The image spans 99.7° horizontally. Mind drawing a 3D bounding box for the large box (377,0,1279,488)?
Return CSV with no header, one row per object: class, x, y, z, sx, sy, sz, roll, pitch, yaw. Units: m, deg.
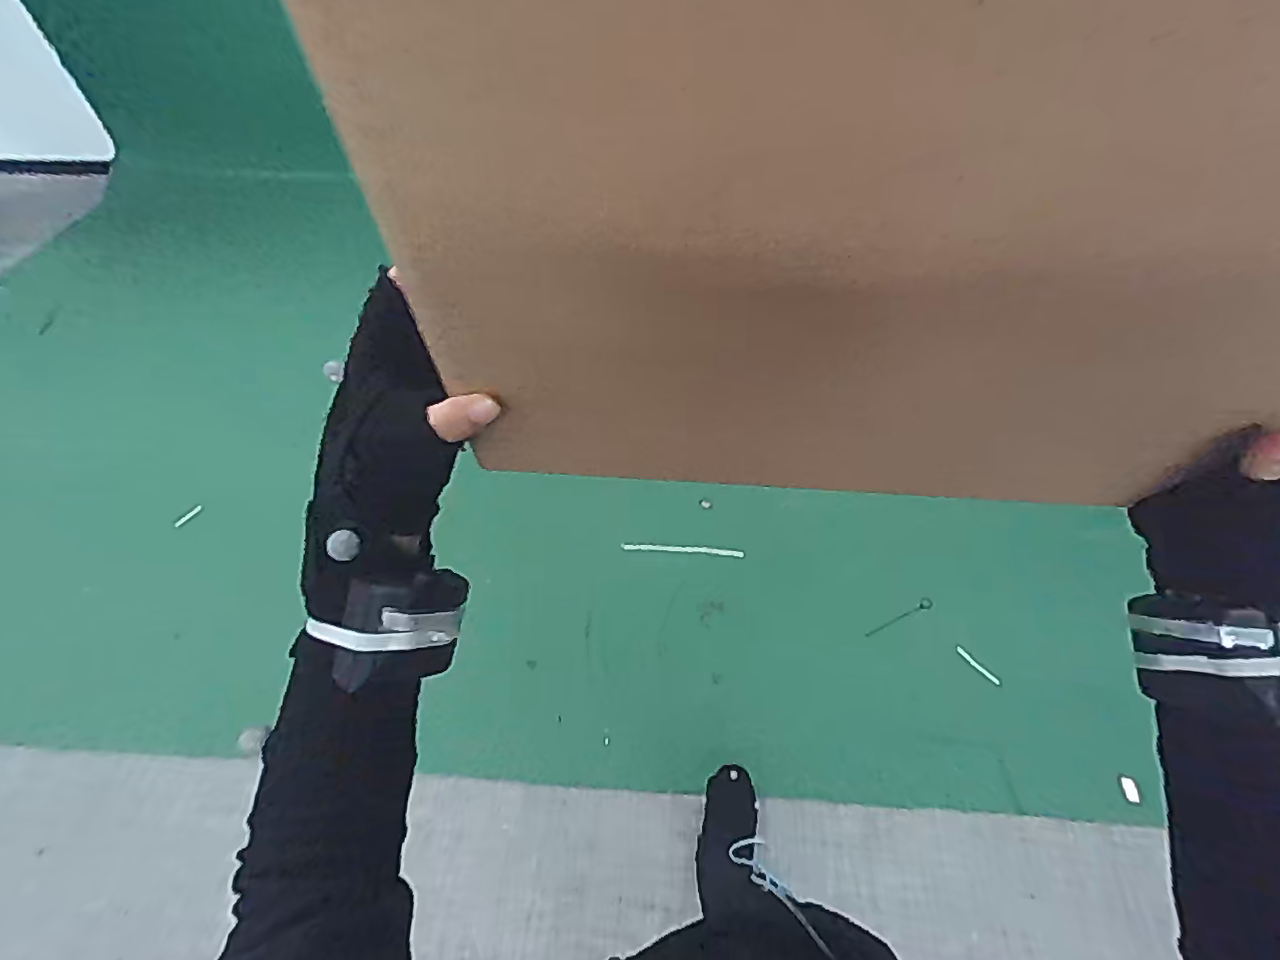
large box,0.128,-0.201,0.263,0.408,0.320,0.320,3,65,-5
